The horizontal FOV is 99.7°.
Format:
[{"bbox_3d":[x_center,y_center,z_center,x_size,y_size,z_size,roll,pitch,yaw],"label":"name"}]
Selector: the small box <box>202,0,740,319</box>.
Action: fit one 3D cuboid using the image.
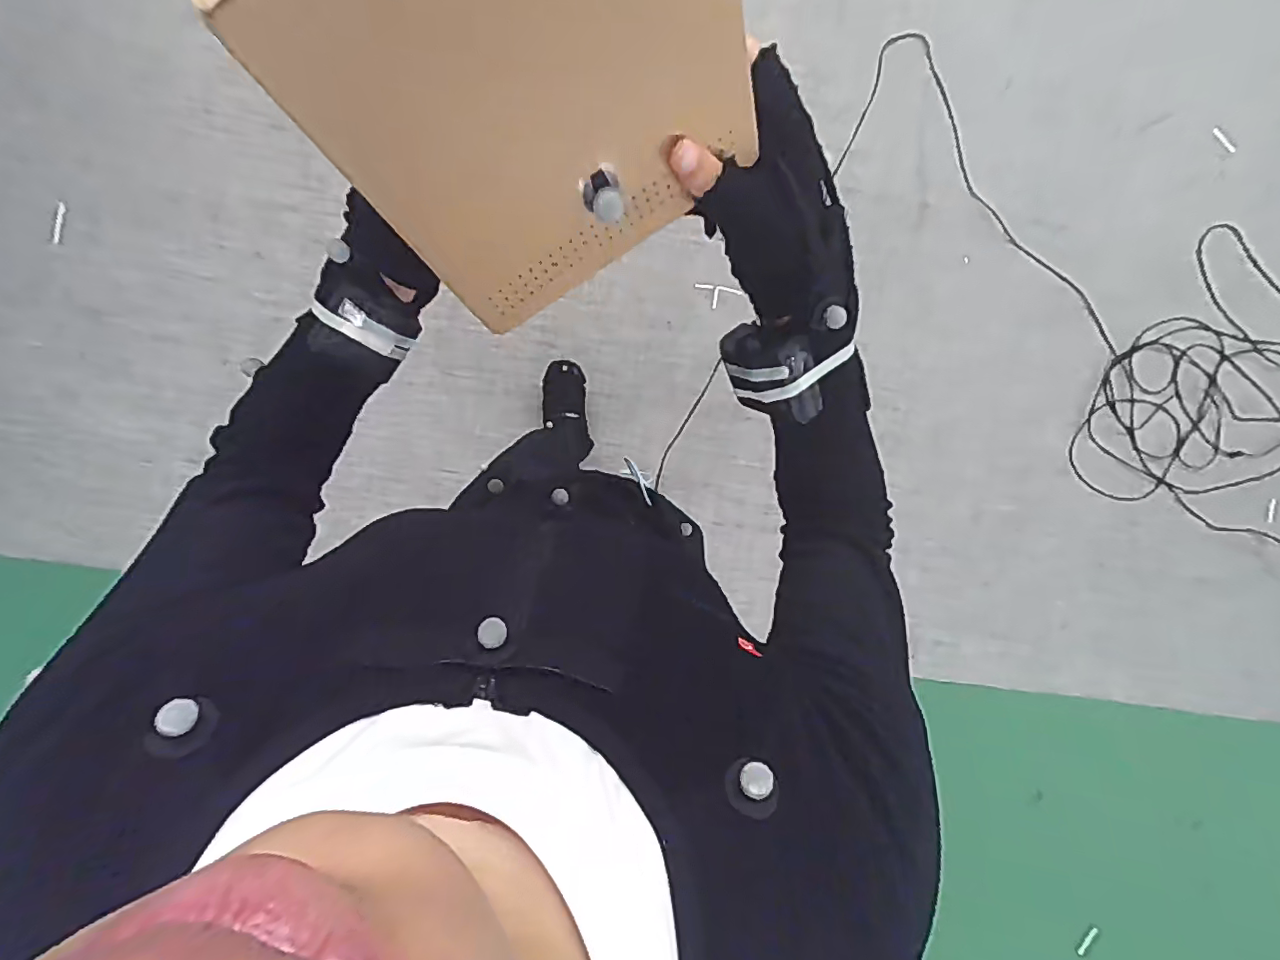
[{"bbox_3d":[-0.066,-0.218,0.256,0.179,0.176,0.168,-32,63,4],"label":"small box"}]
